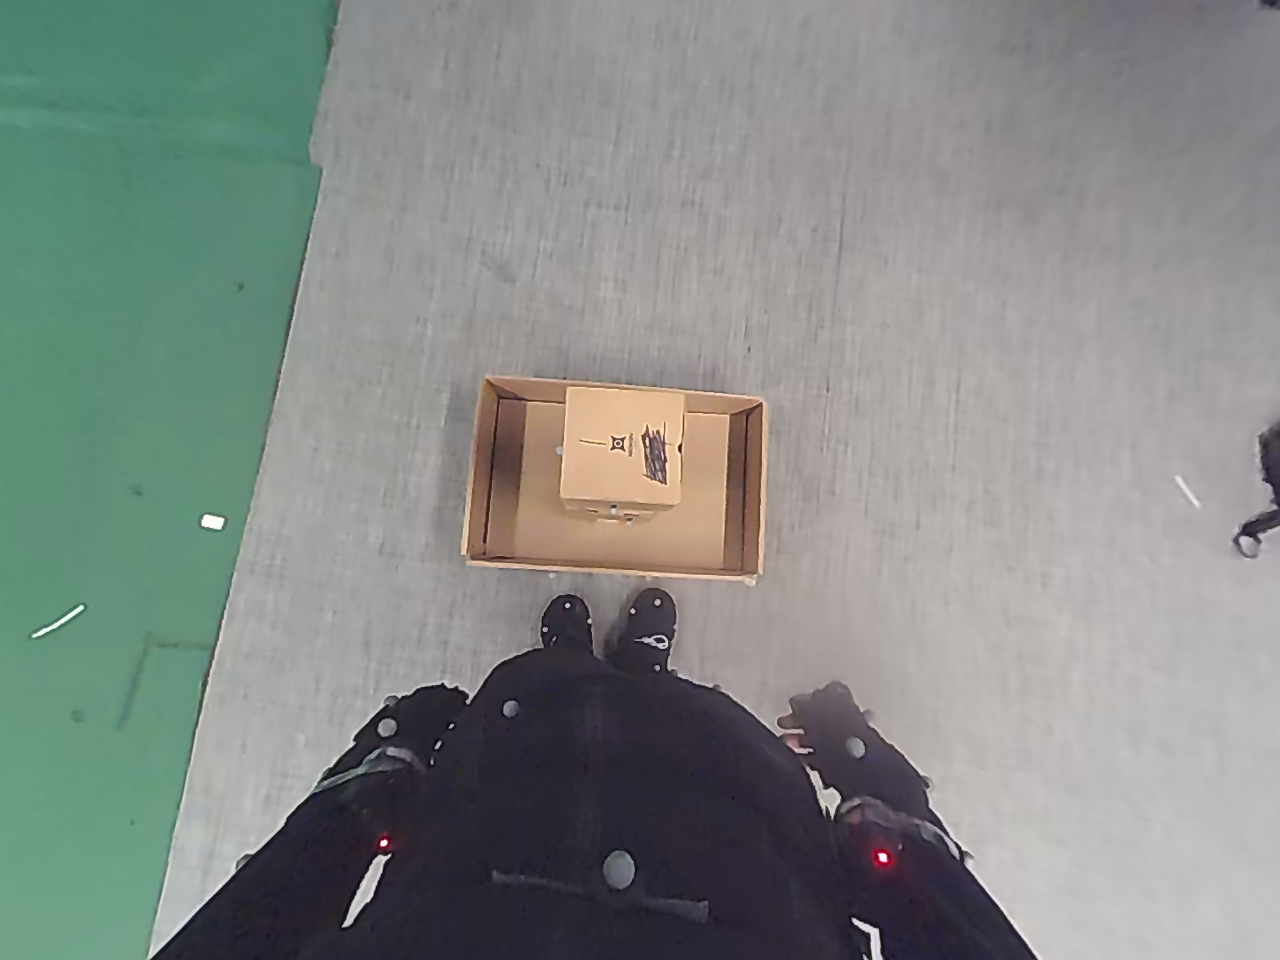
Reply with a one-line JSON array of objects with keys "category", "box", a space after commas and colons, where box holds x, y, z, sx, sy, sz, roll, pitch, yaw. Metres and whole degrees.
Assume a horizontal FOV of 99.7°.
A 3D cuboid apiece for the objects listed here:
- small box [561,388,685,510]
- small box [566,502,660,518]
[{"category": "small box", "box": [-0.029, -0.040, 0.867, 0.179, 0.176, 0.168, 3, 83, -3]}, {"category": "small box", "box": [-0.047, -0.018, 1.013, 0.168, 0.176, 0.179, 1, 84, -3]}]
